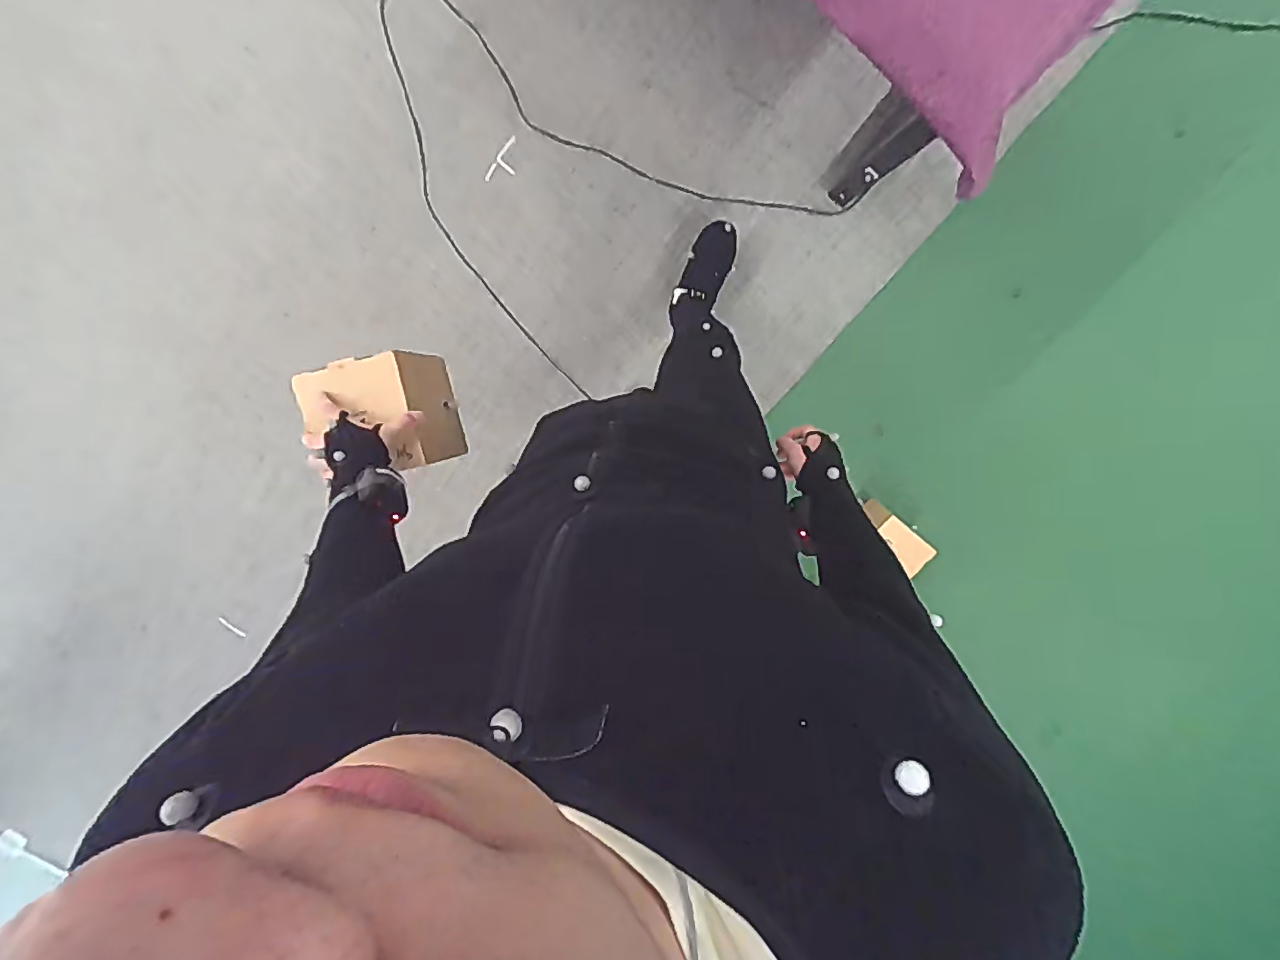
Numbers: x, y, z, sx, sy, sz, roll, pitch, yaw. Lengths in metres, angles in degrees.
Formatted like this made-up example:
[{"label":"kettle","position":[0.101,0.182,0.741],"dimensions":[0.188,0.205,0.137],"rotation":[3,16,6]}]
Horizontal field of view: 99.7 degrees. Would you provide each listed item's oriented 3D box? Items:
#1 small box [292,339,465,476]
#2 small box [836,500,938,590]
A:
[{"label":"small box","position":[-0.407,-0.116,0.872],"dimensions":[0.168,0.176,0.179],"rotation":[-11,98,7]},{"label":"small box","position":[0.701,0.177,1.560],"dimensions":[0.179,0.176,0.168],"rotation":[38,104,-9]}]
